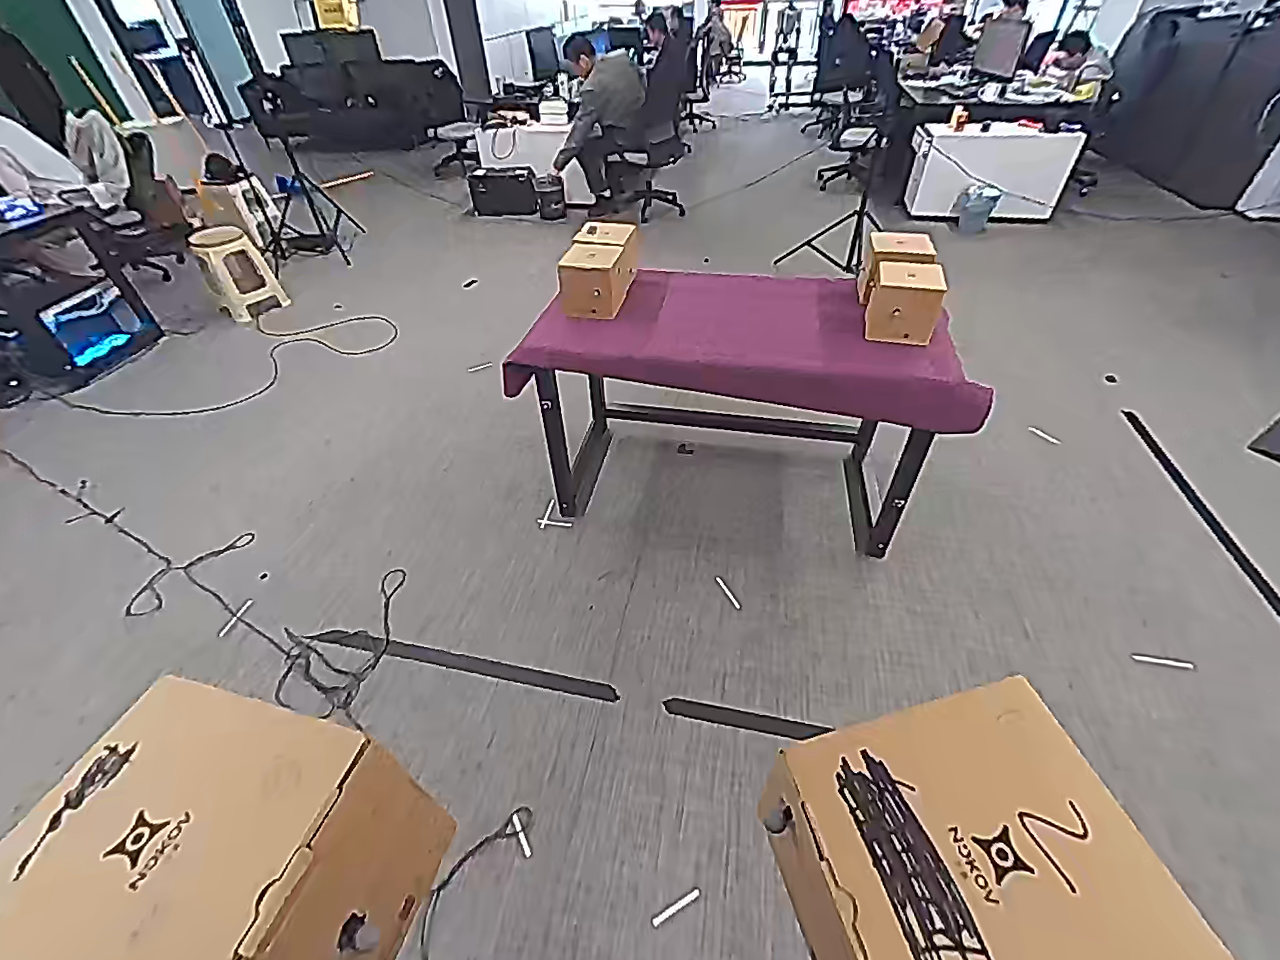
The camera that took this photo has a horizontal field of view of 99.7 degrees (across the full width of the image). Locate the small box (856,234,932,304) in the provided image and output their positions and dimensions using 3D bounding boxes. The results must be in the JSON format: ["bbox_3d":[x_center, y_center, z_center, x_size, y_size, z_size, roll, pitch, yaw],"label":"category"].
[{"bbox_3d":[0.787,-0.656,1.696,0.179,0.176,0.168,8,45,10],"label":"small box"}]

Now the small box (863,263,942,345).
[{"bbox_3d":[0.742,-0.501,1.541,0.168,0.176,0.179,9,43,14],"label":"small box"}]

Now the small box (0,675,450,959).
[{"bbox_3d":[-0.253,0.258,0.347,0.179,0.176,0.168,8,44,14],"label":"small box"}]

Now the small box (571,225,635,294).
[{"bbox_3d":[-0.120,-0.747,1.837,0.179,0.176,0.168,9,46,10],"label":"small box"}]
